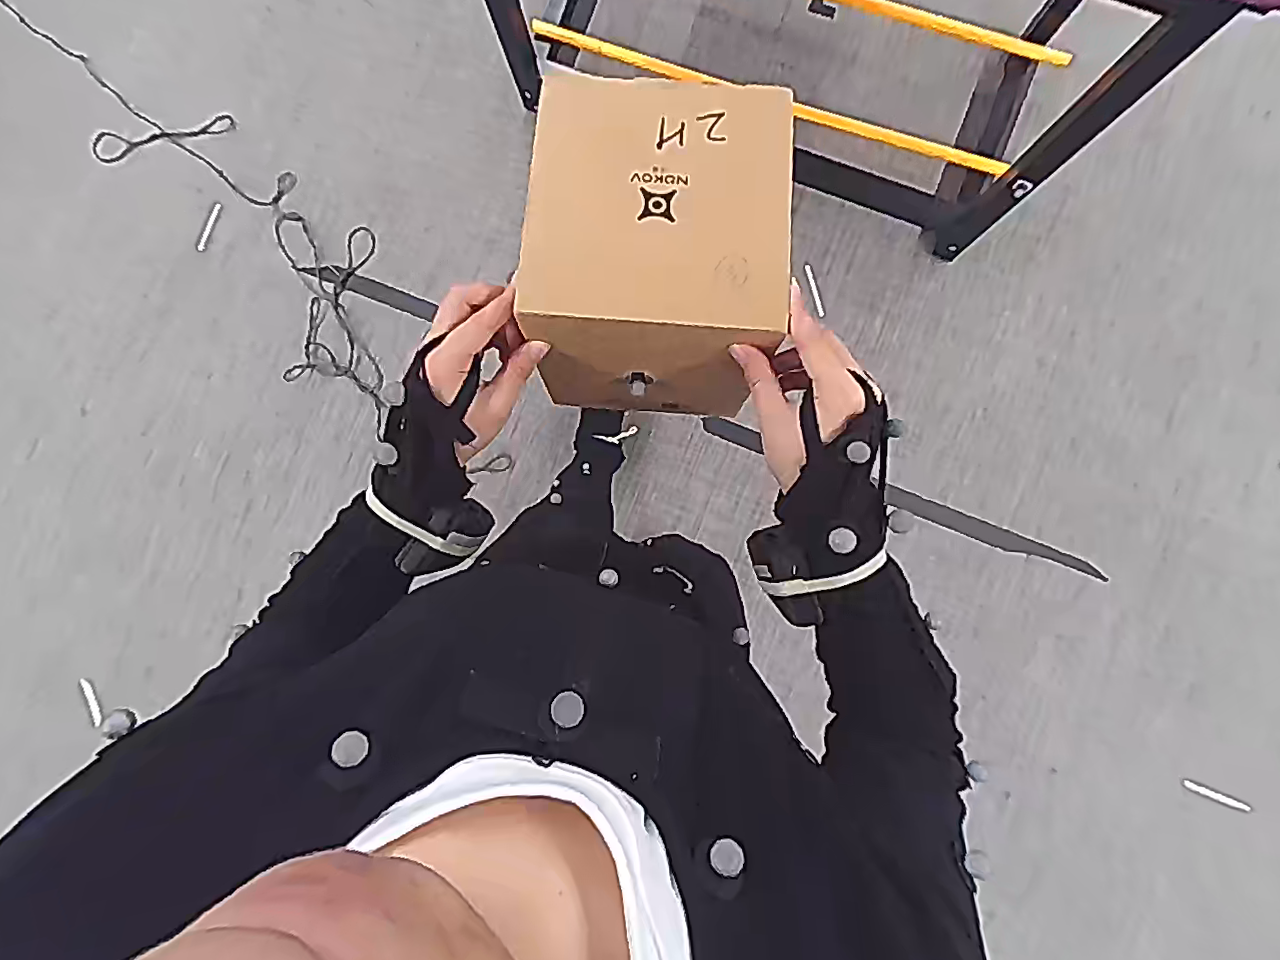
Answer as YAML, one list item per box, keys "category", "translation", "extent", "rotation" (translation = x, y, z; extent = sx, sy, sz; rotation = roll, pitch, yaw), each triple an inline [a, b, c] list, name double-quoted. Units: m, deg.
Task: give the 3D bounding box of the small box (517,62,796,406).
- category: "small box"
  translation: [0.013, -0.166, 0.413]
  extent: [0.168, 0.176, 0.179]
  rotation: [4, 78, 0]
